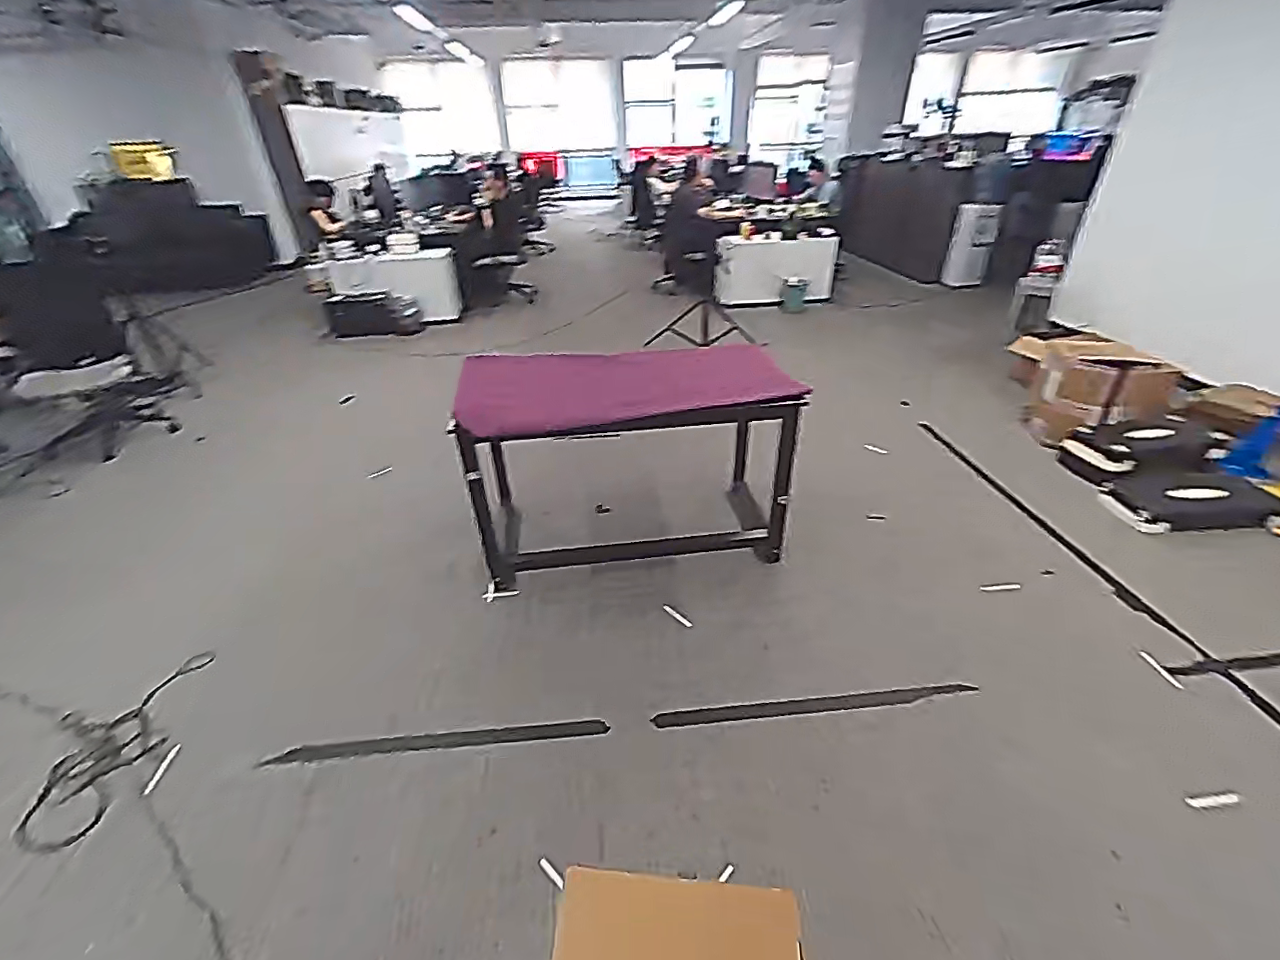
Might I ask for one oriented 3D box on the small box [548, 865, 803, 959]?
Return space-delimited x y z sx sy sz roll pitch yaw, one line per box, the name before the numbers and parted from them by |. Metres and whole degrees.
small box | 0.022 0.409 0.393 0.179 0.176 0.168 4 39 1
